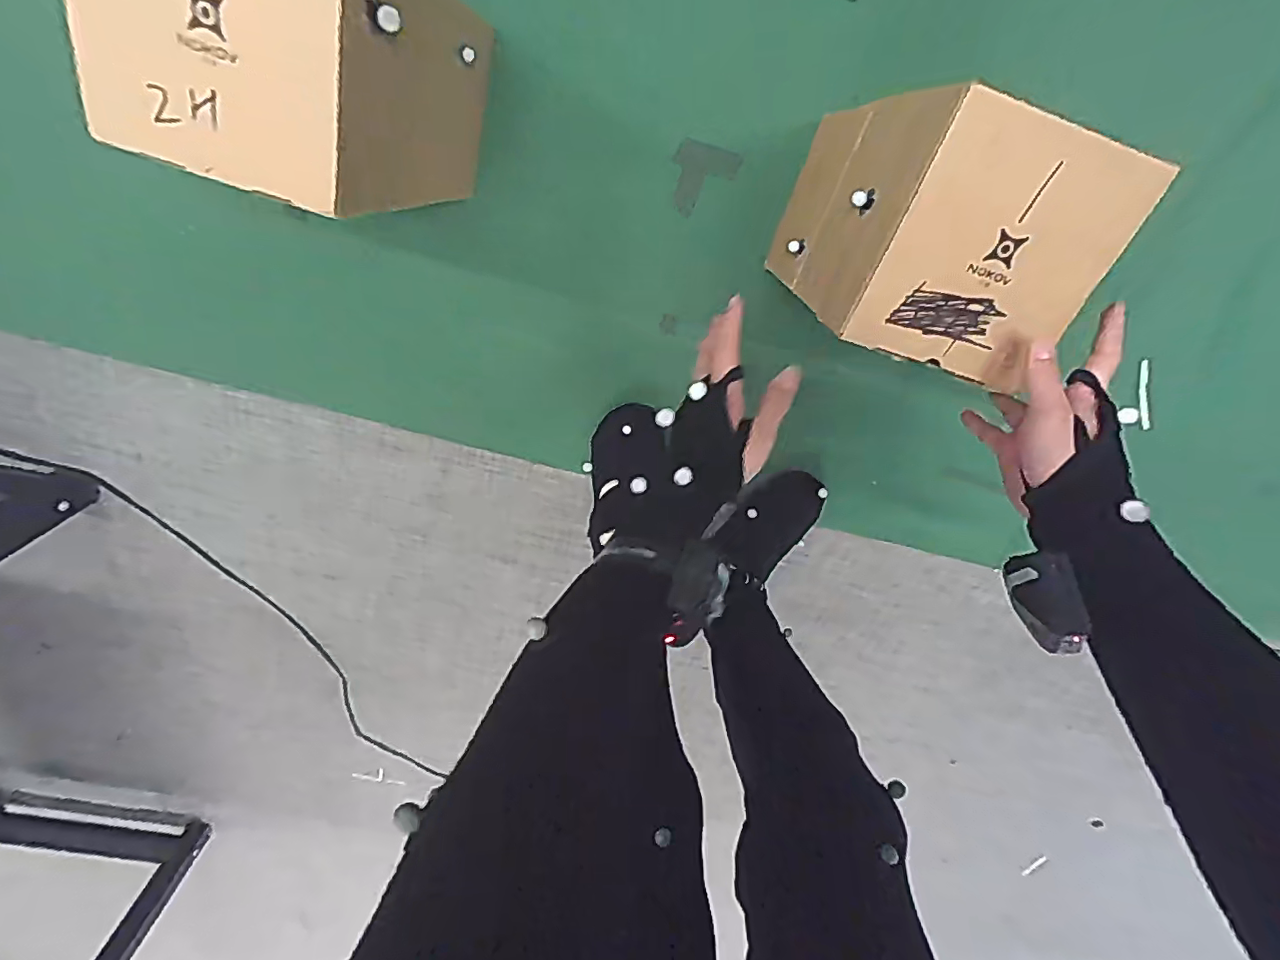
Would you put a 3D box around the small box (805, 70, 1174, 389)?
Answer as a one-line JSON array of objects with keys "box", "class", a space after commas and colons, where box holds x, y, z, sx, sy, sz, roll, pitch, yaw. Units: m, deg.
[{"box": [0.260, -0.208, 0.462, 0.168, 0.176, 0.179, 16, 120, -9], "class": "small box"}]

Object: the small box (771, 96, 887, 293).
[{"box": [0.262, -0.293, 0.603, 0.168, 0.176, 0.179, 15, 121, -8], "class": "small box"}]

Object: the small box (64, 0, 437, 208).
[{"box": [-0.265, -0.327, 0.402, 0.168, 0.176, 0.179, 17, 120, -7], "class": "small box"}]
